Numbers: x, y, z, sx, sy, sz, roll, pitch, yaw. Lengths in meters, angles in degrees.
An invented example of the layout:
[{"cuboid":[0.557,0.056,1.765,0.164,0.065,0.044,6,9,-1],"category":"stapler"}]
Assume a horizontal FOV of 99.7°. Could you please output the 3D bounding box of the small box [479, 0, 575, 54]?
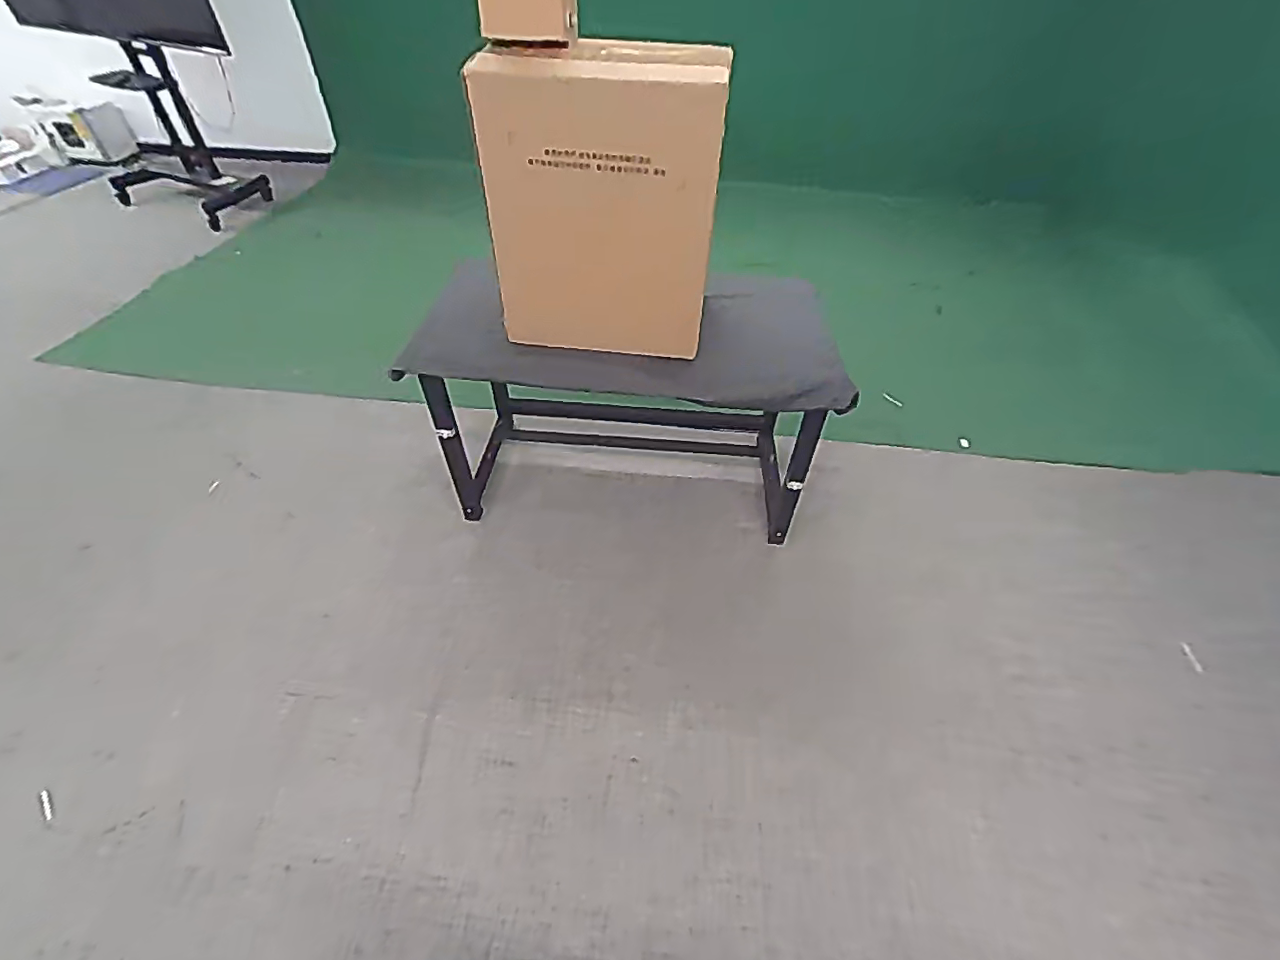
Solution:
[{"cuboid":[-0.237,-1.018,1.146,0.179,0.176,0.168,6,40,1],"category":"small box"}]
